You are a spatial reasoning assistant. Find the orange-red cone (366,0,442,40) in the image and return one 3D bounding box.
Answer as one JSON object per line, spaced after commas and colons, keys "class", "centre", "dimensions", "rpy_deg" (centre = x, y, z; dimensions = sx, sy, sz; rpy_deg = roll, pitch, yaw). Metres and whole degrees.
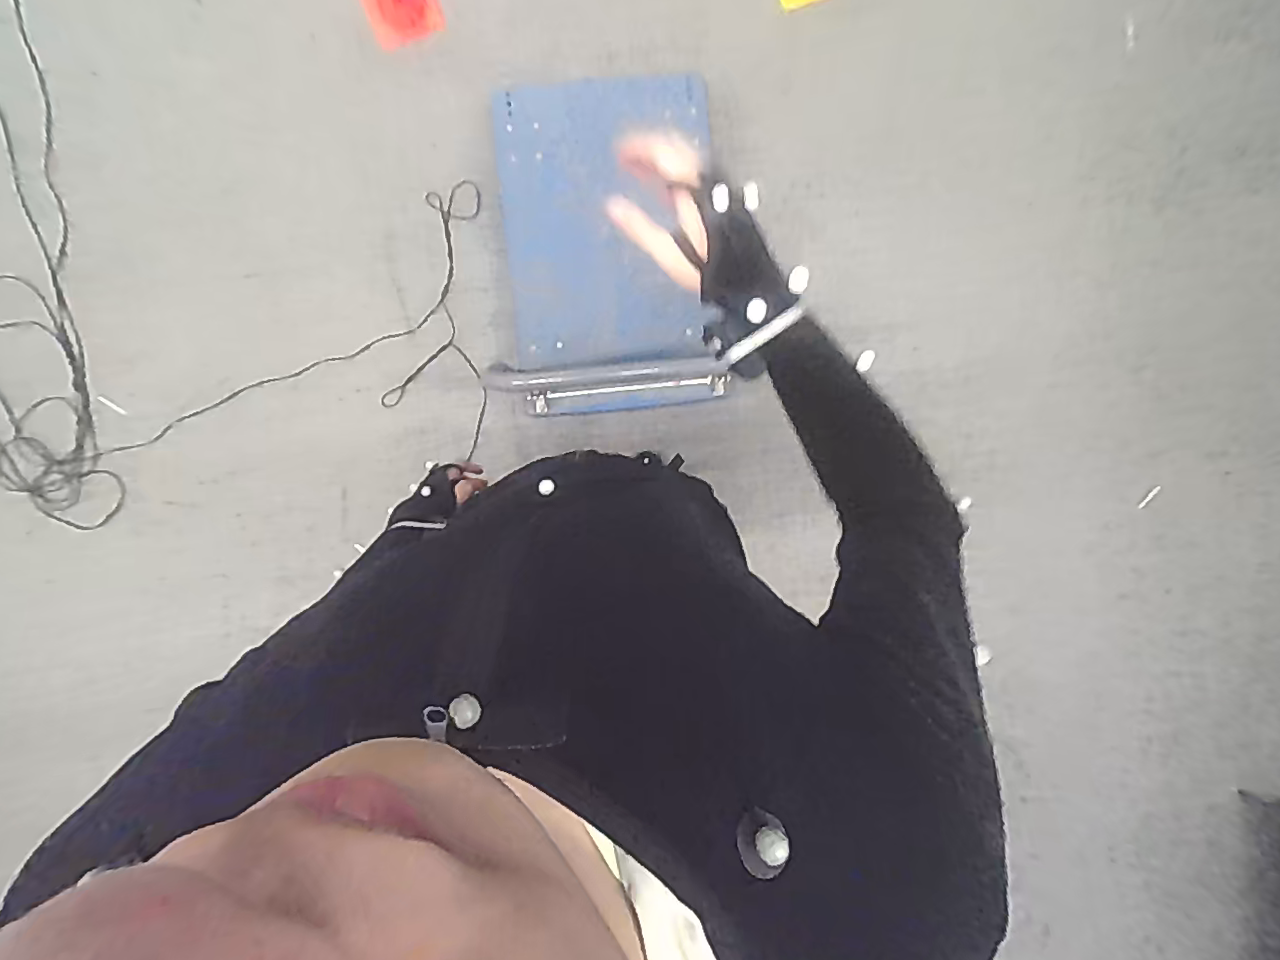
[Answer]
{"class": "orange-red cone", "centre": [-0.685, -1.377, 1.385], "dimensions": [0.199, 0.360, 0.198], "rpy_deg": [-21, 92, 1]}
